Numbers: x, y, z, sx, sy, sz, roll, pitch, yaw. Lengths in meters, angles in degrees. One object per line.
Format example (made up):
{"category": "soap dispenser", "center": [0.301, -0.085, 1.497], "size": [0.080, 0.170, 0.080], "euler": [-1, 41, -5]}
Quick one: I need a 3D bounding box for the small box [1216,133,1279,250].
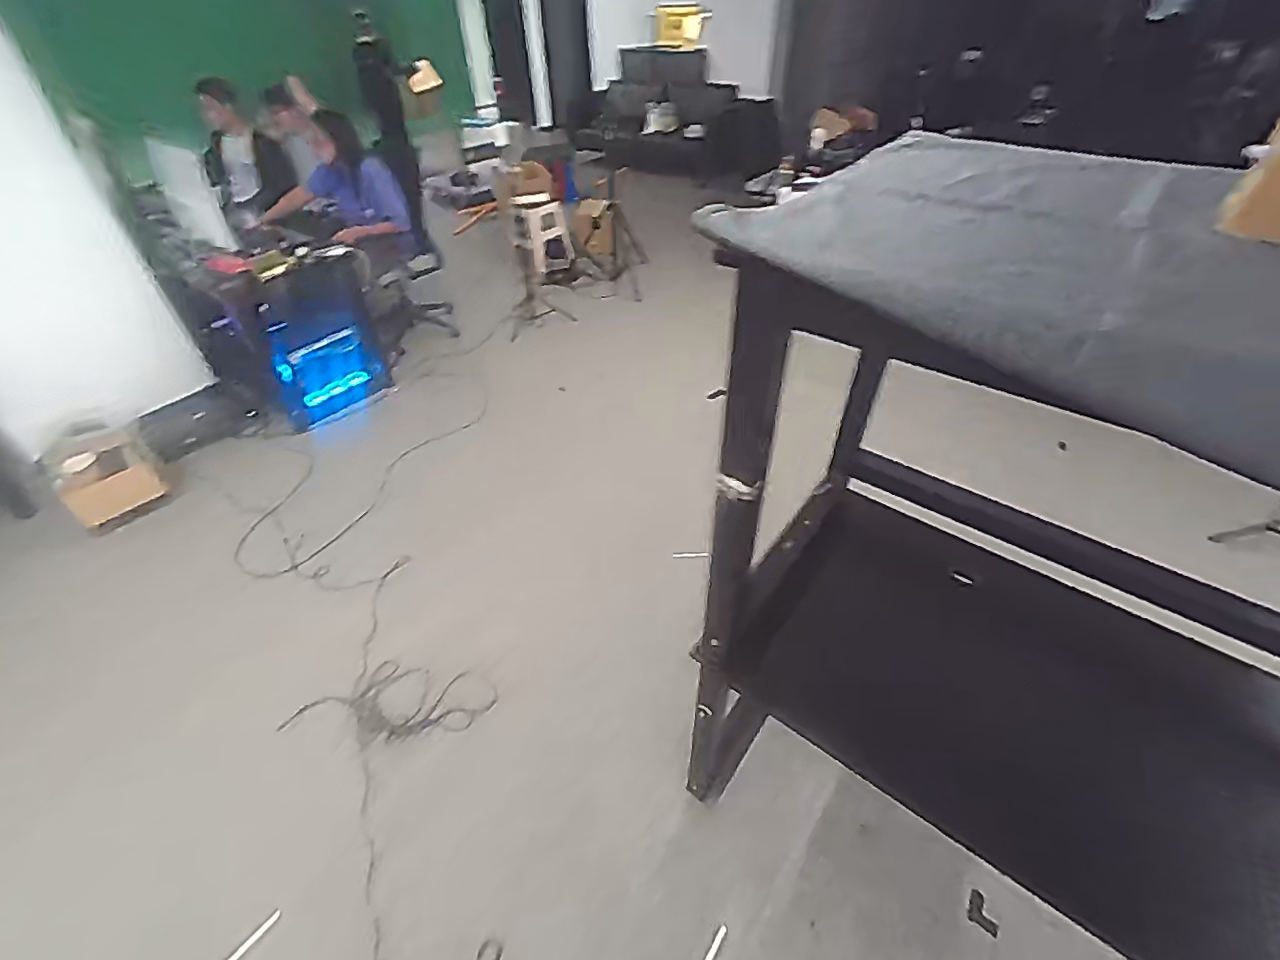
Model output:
{"category": "small box", "center": [0.670, -0.293, 0.462], "size": [0.179, 0.176, 0.168], "euler": [32, 52, 31]}
